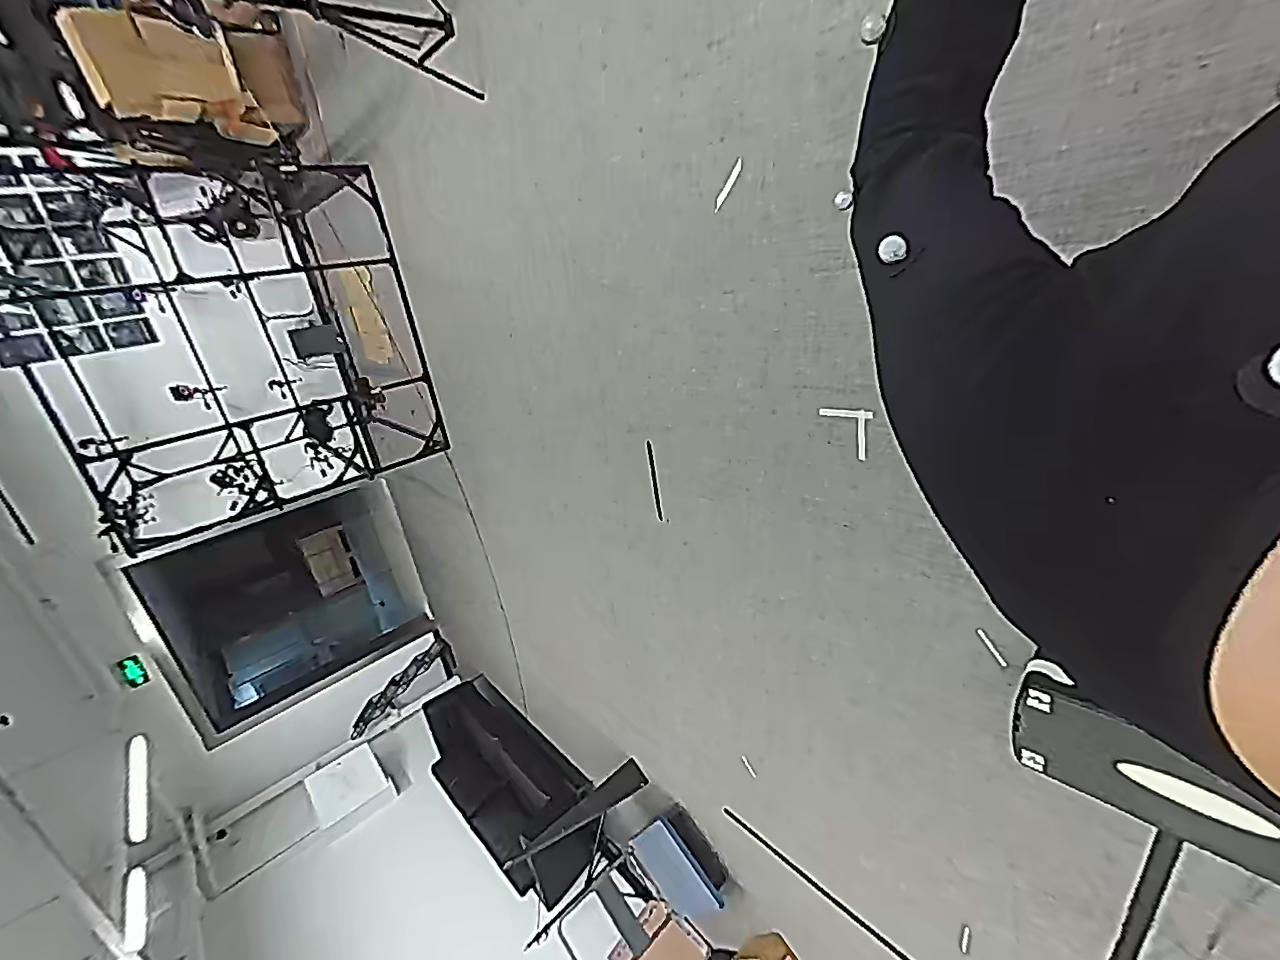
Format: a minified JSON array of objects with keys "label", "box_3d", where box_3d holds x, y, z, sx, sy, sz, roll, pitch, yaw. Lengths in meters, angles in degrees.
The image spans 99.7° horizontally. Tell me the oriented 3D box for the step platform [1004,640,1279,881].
[{"label":"step platform","box_3d":[1.231,0.631,1.216,0.684,0.204,0.286,14,121,49]}]
